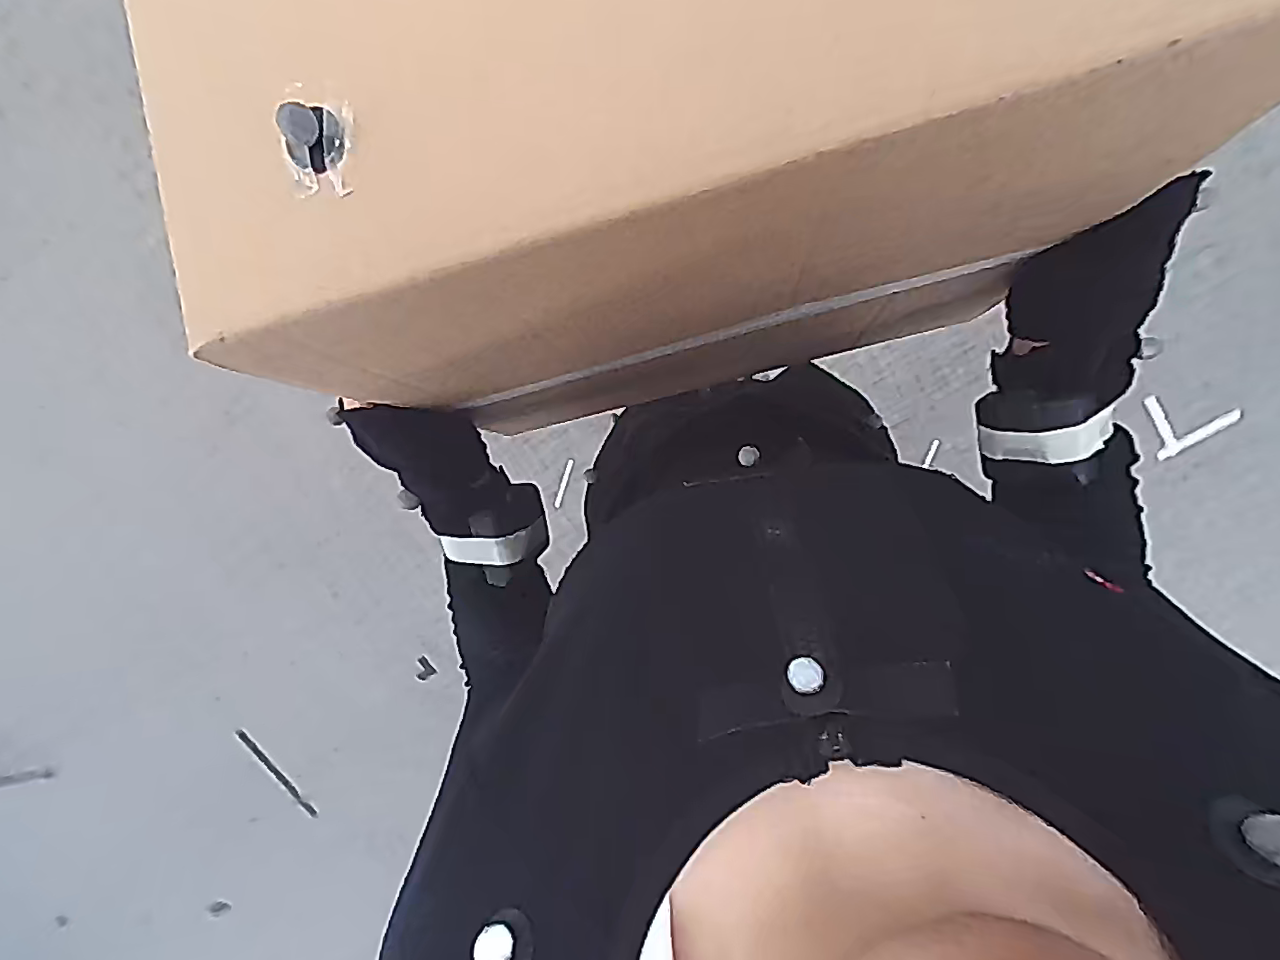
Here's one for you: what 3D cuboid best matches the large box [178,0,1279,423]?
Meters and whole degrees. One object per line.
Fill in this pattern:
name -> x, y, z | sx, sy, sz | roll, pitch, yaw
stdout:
large box -> 0.022, -0.246, 0.335 | 0.408, 0.320, 0.320 | -12, 88, 8
